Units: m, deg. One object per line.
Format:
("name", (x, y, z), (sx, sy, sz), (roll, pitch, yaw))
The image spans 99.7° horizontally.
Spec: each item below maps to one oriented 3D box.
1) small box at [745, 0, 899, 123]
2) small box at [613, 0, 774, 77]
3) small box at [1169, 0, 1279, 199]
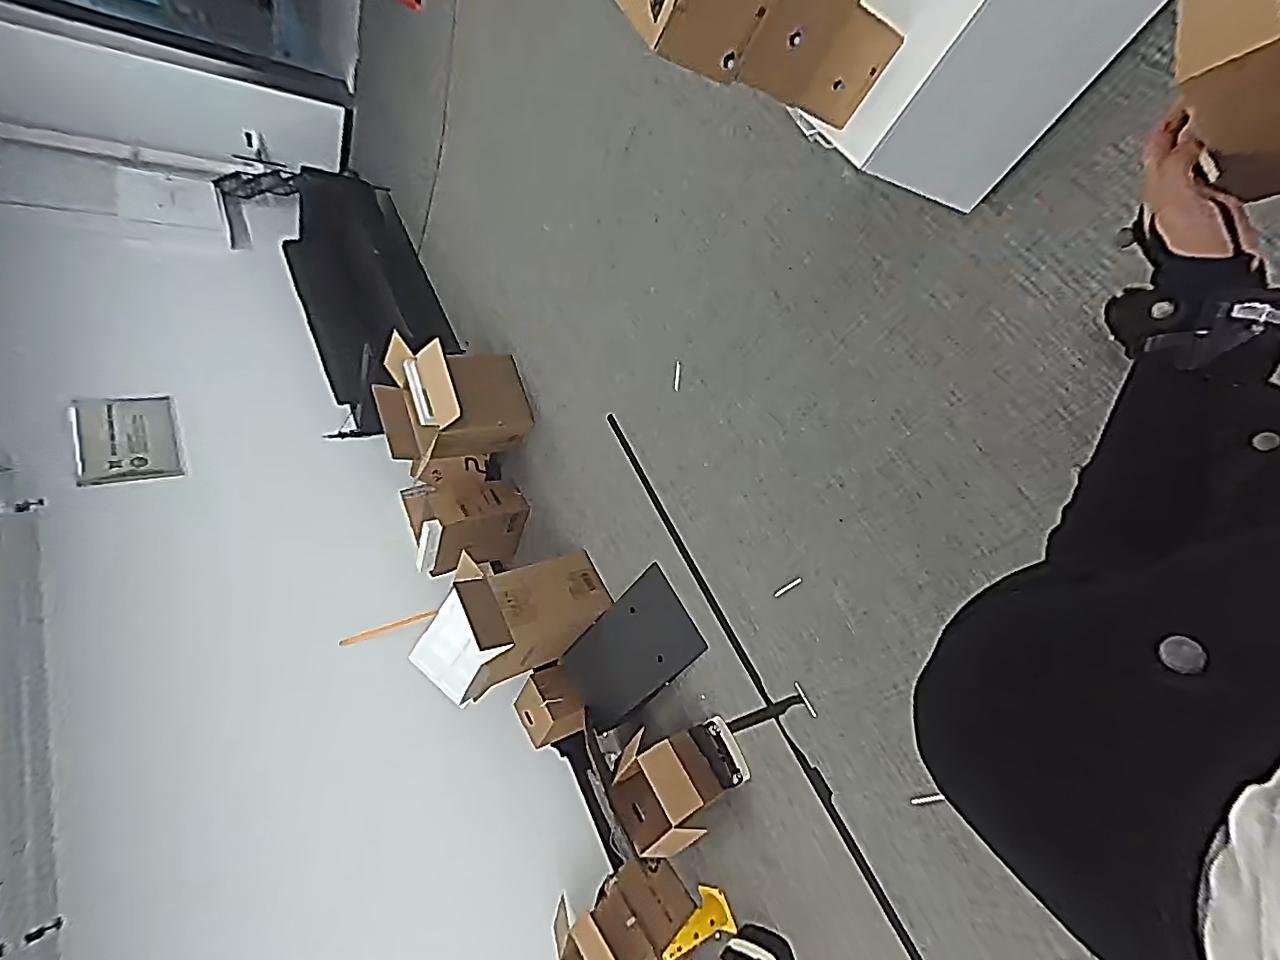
("small box", (0.340, -0.804, 1.009), (0.168, 0.176, 0.179), (-51, 59, 44))
("small box", (0.084, -0.747, 0.809), (0.168, 0.176, 0.179), (-48, 61, 46))
("small box", (0.456, -0.313, 0.321), (0.168, 0.176, 0.179), (1, 80, 57))
